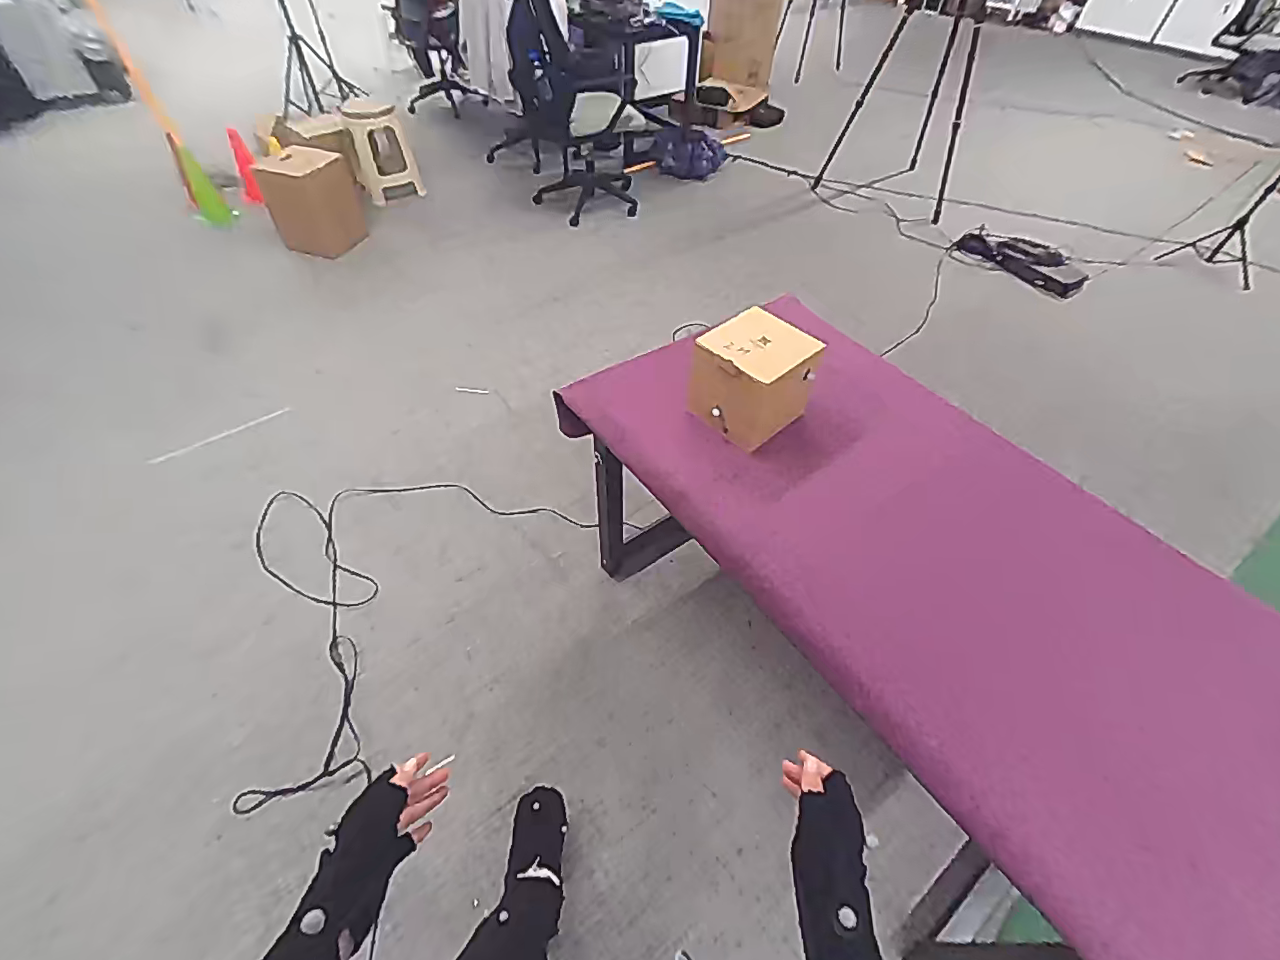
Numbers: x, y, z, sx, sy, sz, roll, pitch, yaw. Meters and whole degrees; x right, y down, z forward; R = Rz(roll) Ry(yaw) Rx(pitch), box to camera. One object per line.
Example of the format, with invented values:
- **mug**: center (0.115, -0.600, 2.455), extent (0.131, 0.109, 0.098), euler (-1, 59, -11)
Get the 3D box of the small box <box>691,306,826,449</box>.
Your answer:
- **small box**: center (0.212, -0.193, 1.018), extent (0.179, 0.176, 0.168), euler (-34, 58, -26)
